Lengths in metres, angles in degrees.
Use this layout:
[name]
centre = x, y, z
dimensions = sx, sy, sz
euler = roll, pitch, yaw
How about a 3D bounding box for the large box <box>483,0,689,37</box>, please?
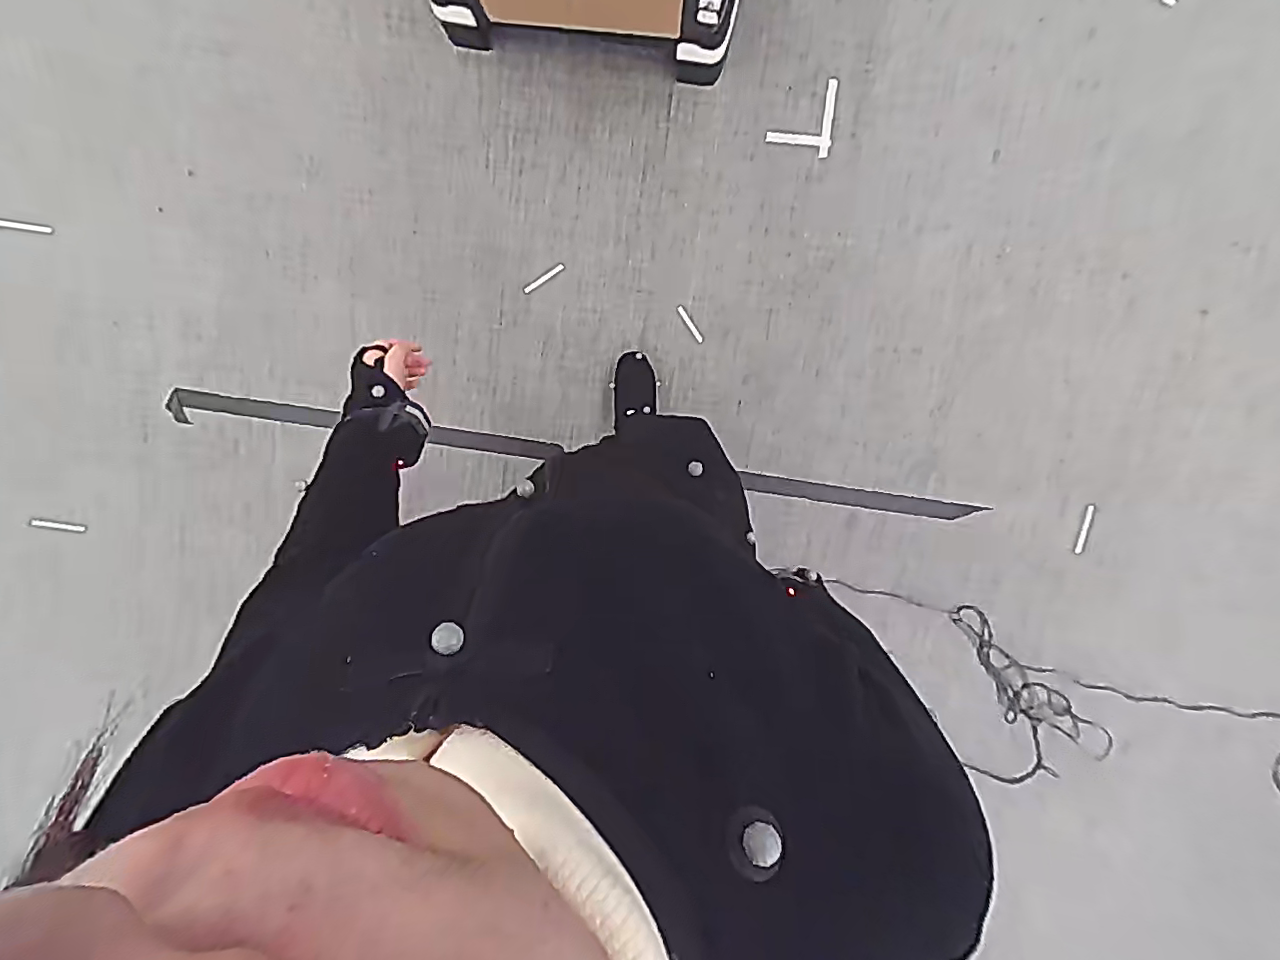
[large box]
centre = -0.101, -1.050, 0.952
dimensions = 0.408, 0.320, 0.320
euler = 5, 100, 1
